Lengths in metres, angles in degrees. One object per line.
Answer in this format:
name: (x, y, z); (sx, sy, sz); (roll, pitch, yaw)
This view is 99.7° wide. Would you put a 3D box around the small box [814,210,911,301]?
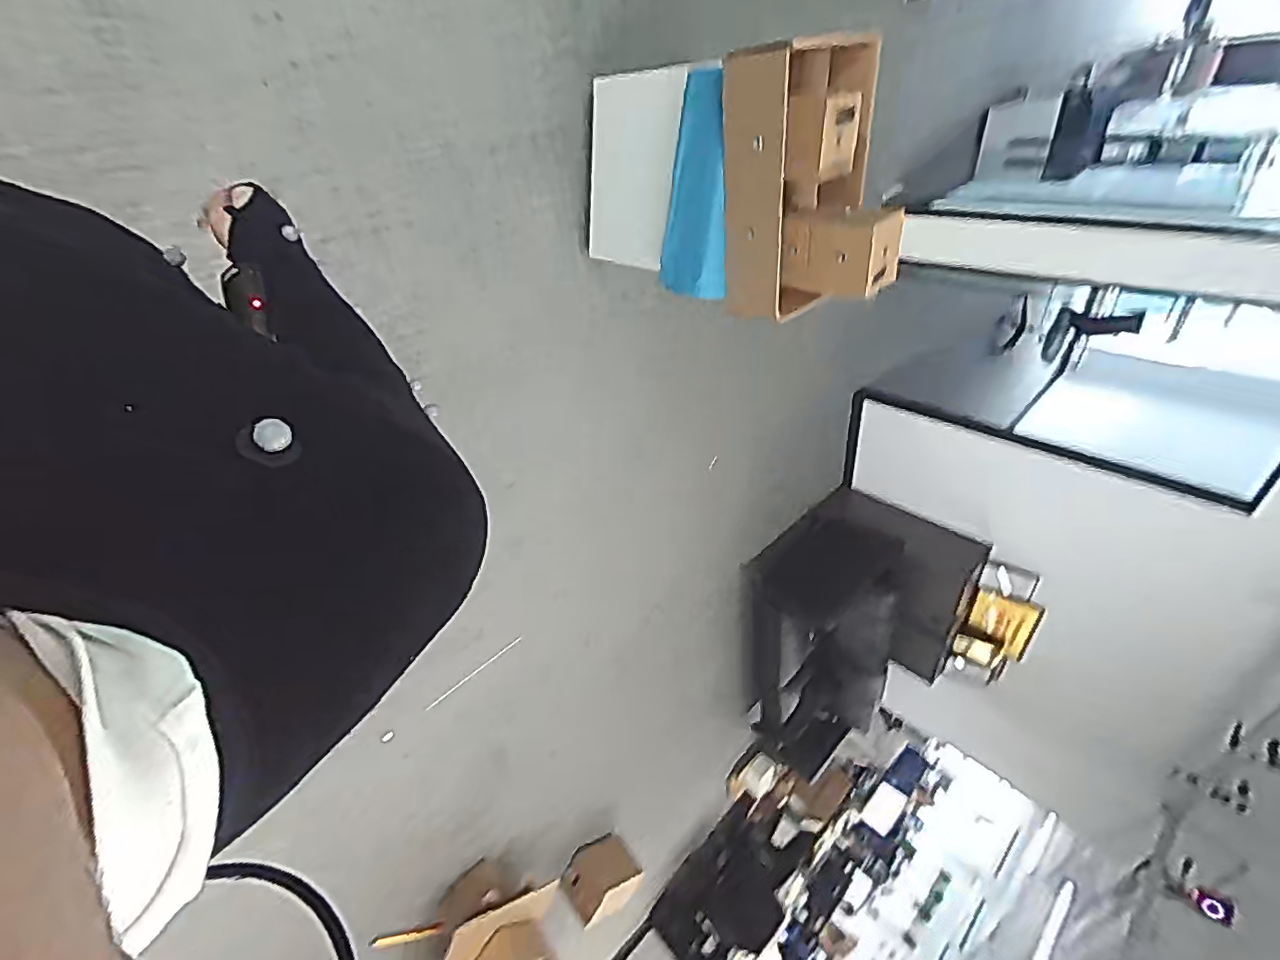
small box: (0.565, -0.583, 1.392); (0.168, 0.176, 0.179); (-34, 132, -31)
